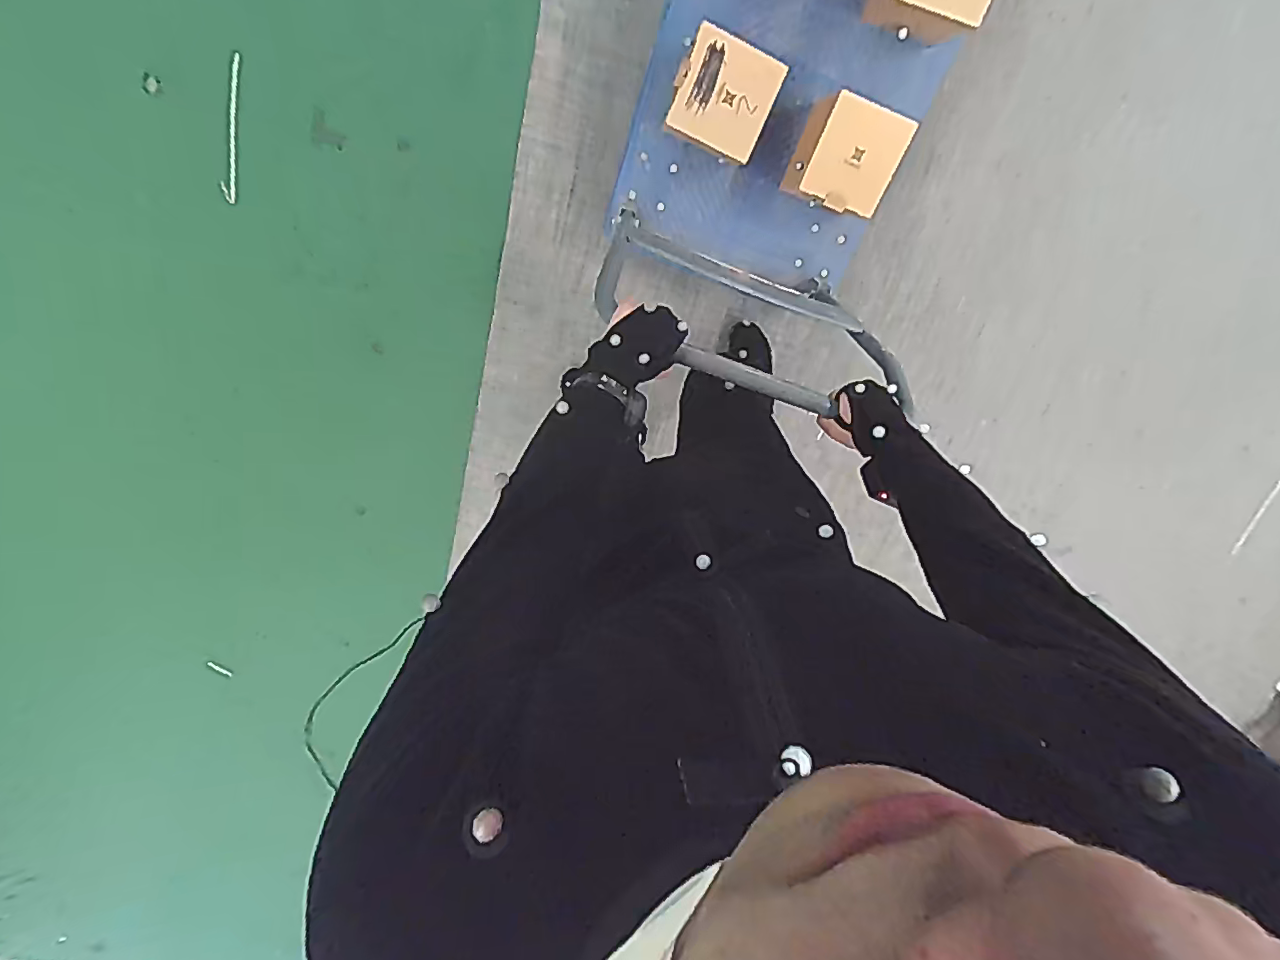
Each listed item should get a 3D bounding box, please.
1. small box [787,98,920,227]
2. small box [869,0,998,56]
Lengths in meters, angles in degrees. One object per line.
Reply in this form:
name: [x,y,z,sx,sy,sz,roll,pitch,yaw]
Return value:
small box: [0.423,-0.645,1.110,0.168,0.176,0.179,18,119,-9]
small box: [0.541,-0.900,0.964,0.168,0.176,0.179,15,119,-7]
